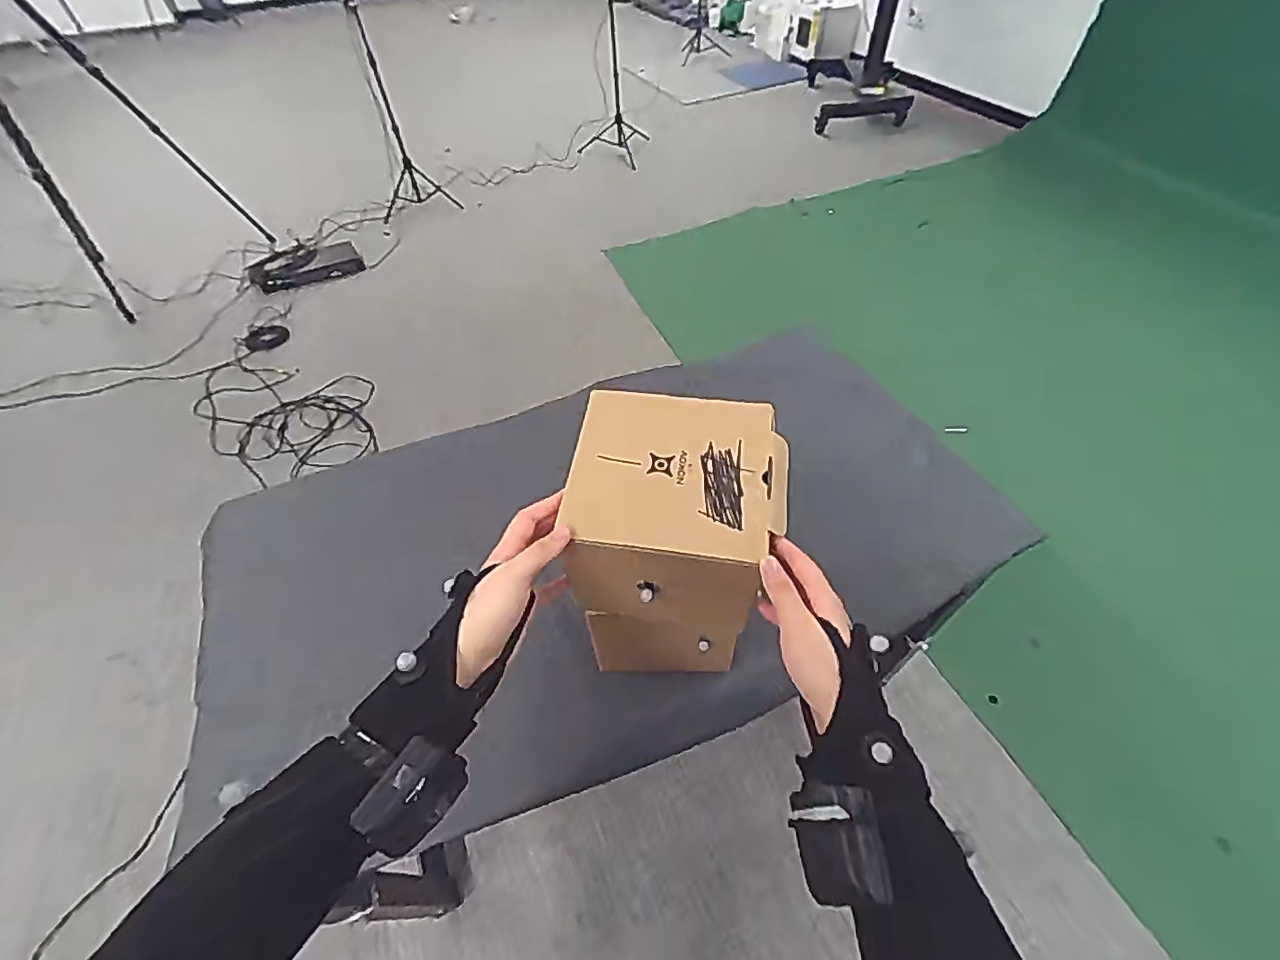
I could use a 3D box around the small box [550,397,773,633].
[{"bbox_3d":[0.028,0.041,0.537,0.179,0.176,0.168,6,57,8],"label":"small box"}]
